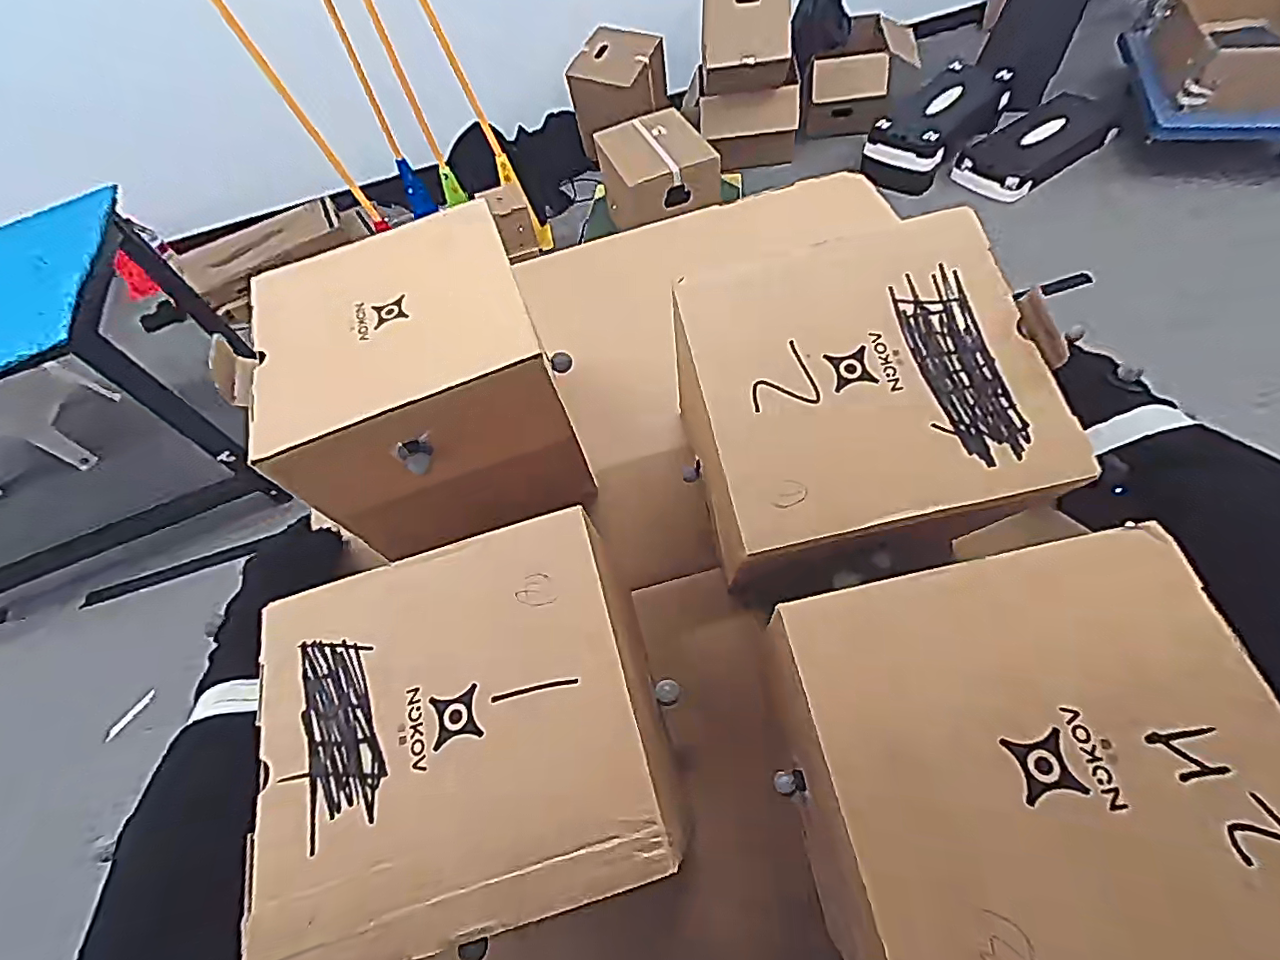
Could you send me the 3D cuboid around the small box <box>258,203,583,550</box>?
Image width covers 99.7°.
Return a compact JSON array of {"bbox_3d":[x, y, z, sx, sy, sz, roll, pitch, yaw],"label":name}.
[{"bbox_3d":[-0.154,-0.070,0.423,0.179,0.176,0.168,-22,60,-2],"label":"small box"}]
